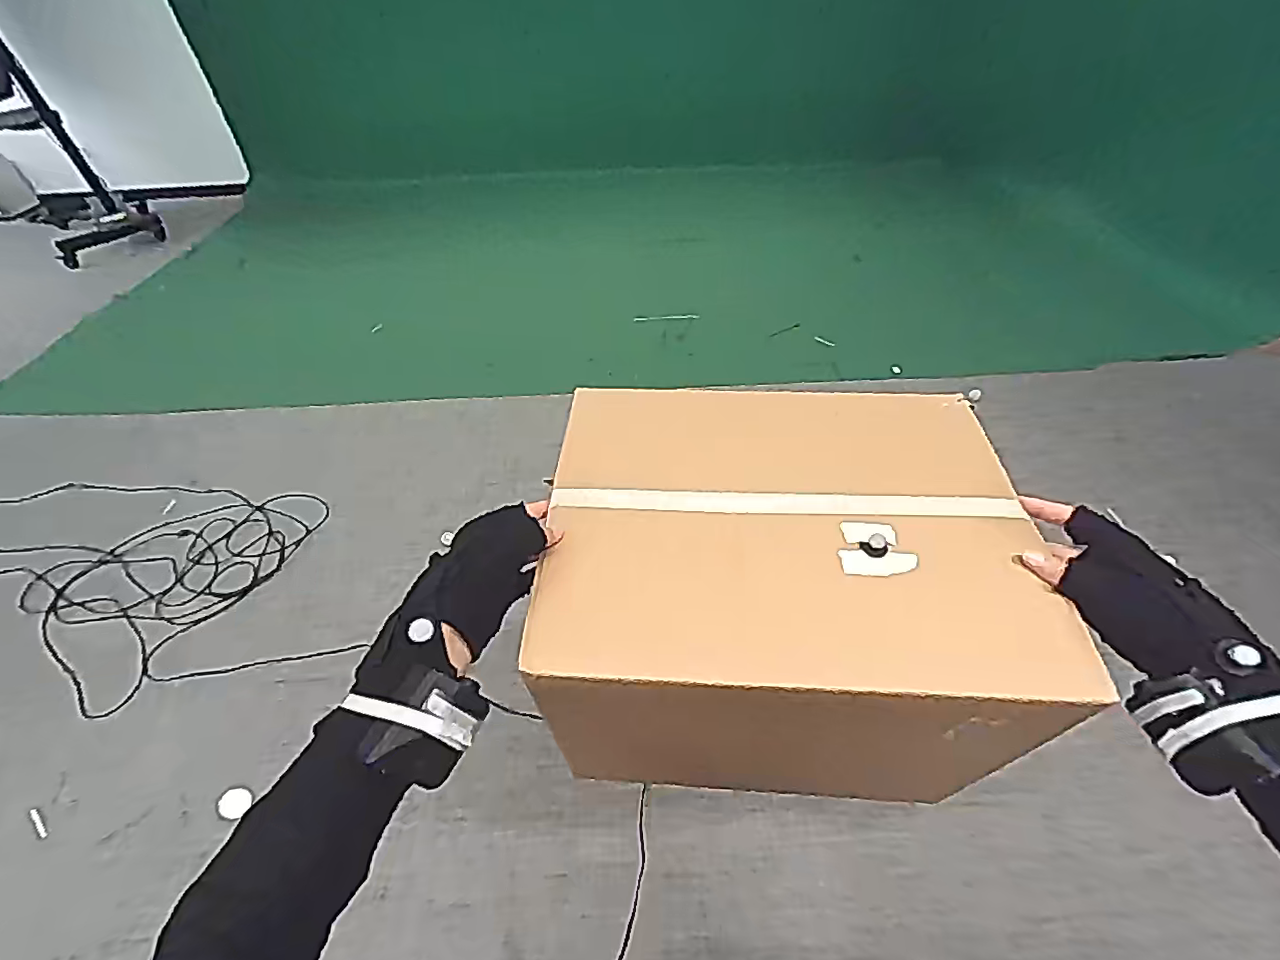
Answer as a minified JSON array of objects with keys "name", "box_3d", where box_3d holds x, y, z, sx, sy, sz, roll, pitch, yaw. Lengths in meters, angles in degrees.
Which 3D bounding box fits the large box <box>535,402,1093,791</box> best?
[{"name":"large box","box_3d":[0.129,0.130,0.593,0.408,0.320,0.320,1,49,4]}]
